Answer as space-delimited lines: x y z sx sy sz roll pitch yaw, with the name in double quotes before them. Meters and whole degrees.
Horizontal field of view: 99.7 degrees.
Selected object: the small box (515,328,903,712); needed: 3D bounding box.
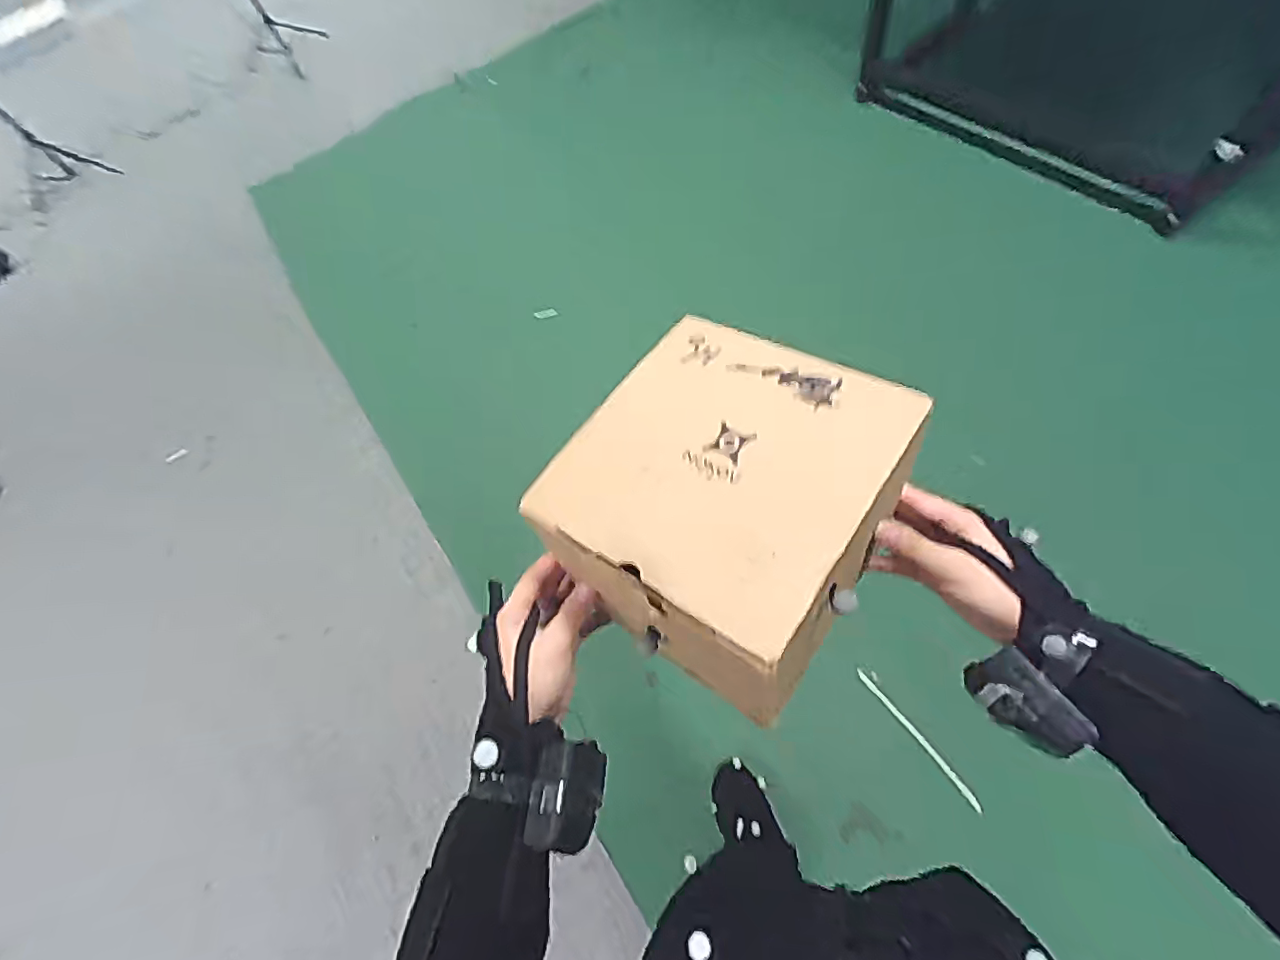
"small box" 0.053 0.033 0.378 0.168 0.176 0.179 28 68 27
